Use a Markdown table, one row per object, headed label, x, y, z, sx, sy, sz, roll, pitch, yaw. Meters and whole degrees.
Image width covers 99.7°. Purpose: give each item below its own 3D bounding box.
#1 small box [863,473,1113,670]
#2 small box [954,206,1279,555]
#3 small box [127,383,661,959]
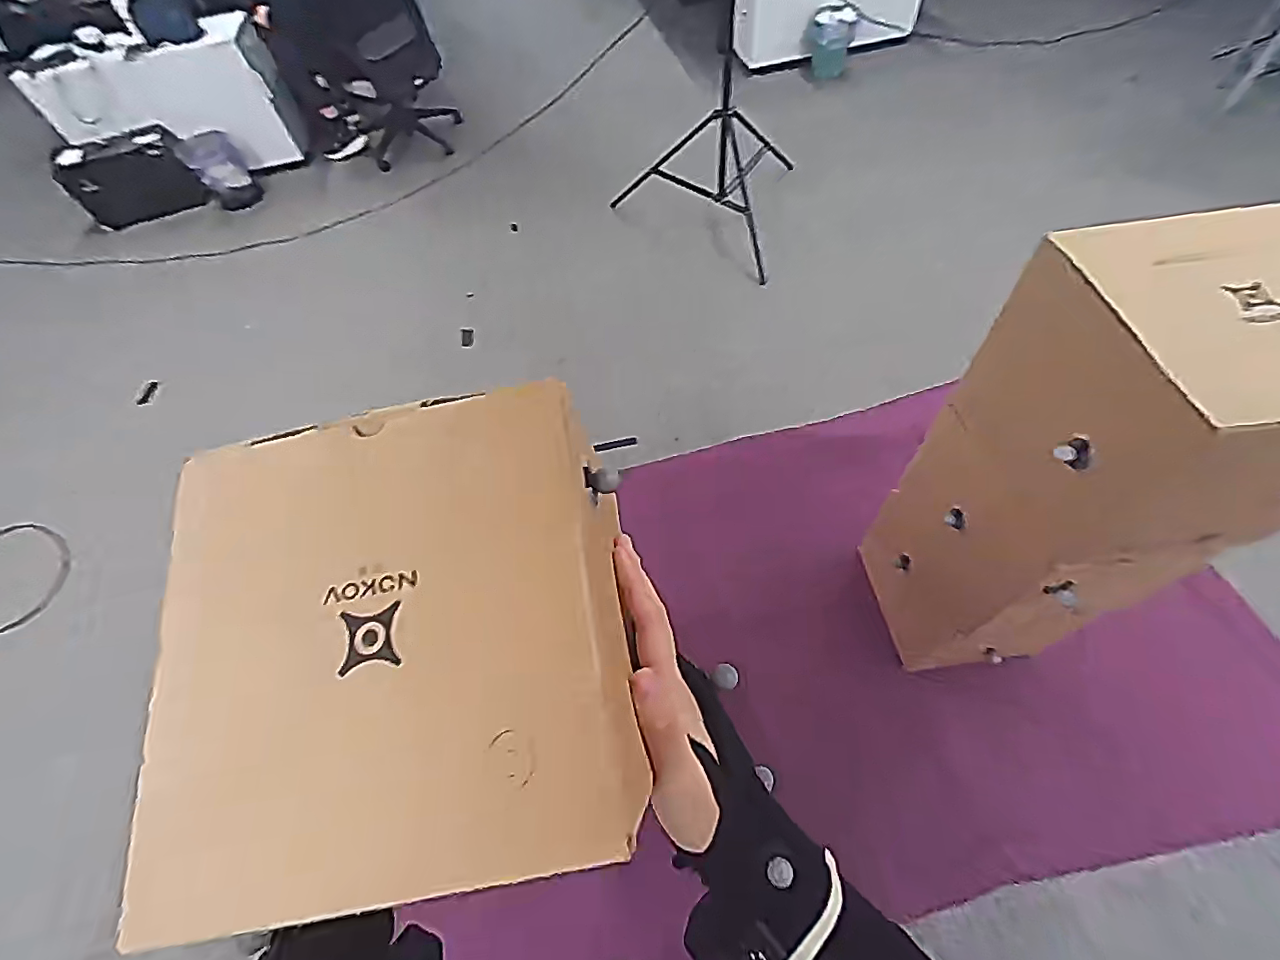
| label | x | y | z | sx | sy | sz | roll | pitch | yaw |
| --- | --- | --- | --- | --- | --- | --- | --- | --- | --- |
| small box | 0.395 | 0.113 | 0.659 | 0.168 | 0.176 | 0.179 | -9 | 57 | 1 |
| small box | 0.364 | -0.058 | 0.382 | 0.168 | 0.176 | 0.179 | -7 | 56 | 0 |
| small box | -0.087 | 0.081 | 0.269 | 0.168 | 0.176 | 0.179 | -12 | 69 | 2 |
